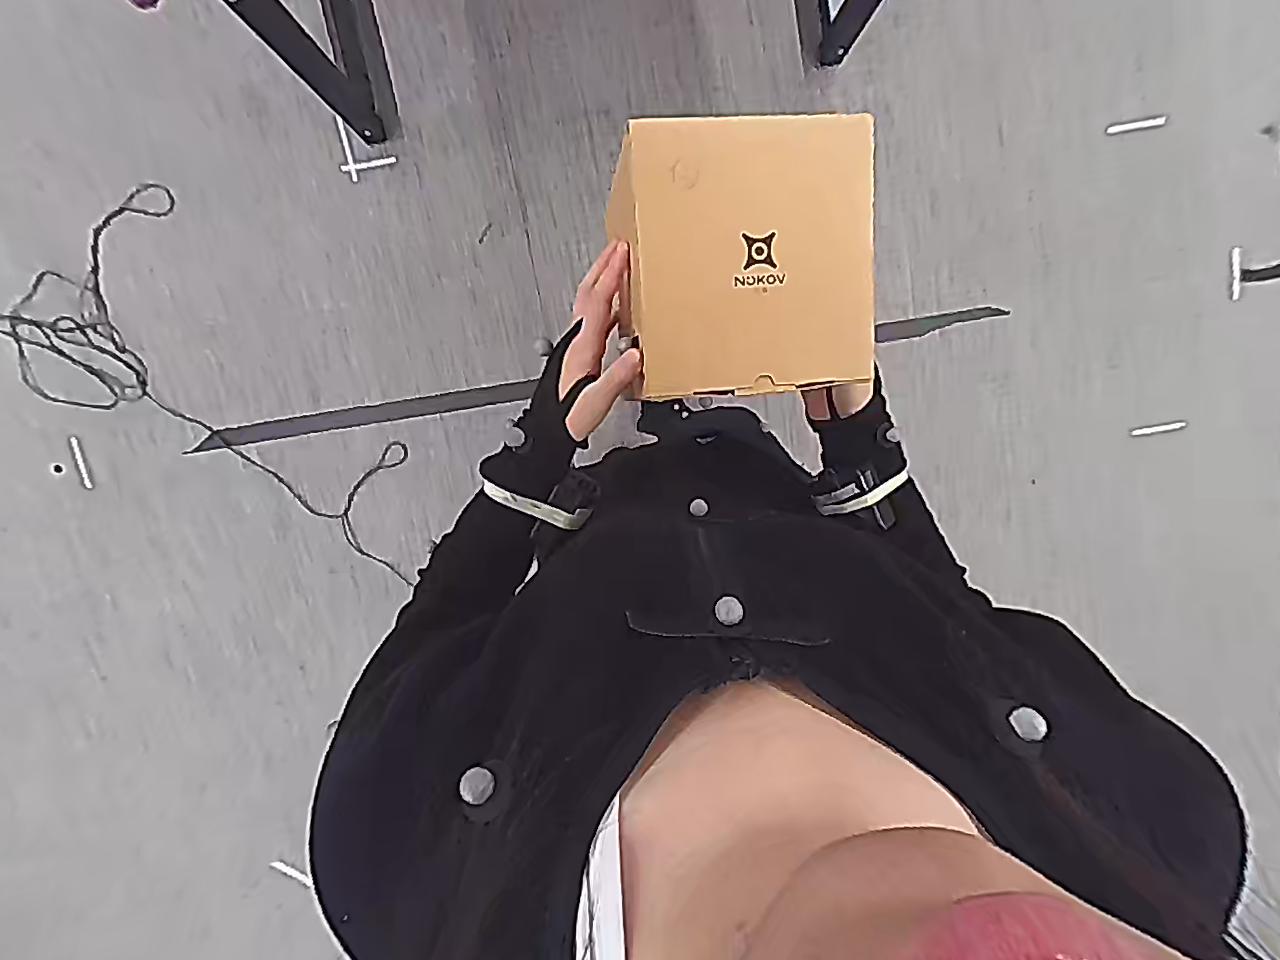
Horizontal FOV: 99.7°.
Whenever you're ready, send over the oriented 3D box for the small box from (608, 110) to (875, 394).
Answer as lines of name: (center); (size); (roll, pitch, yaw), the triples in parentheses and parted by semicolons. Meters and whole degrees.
small box: (0.068, -0.164, 0.440); (0.168, 0.176, 0.179); (-6, 100, -8)
